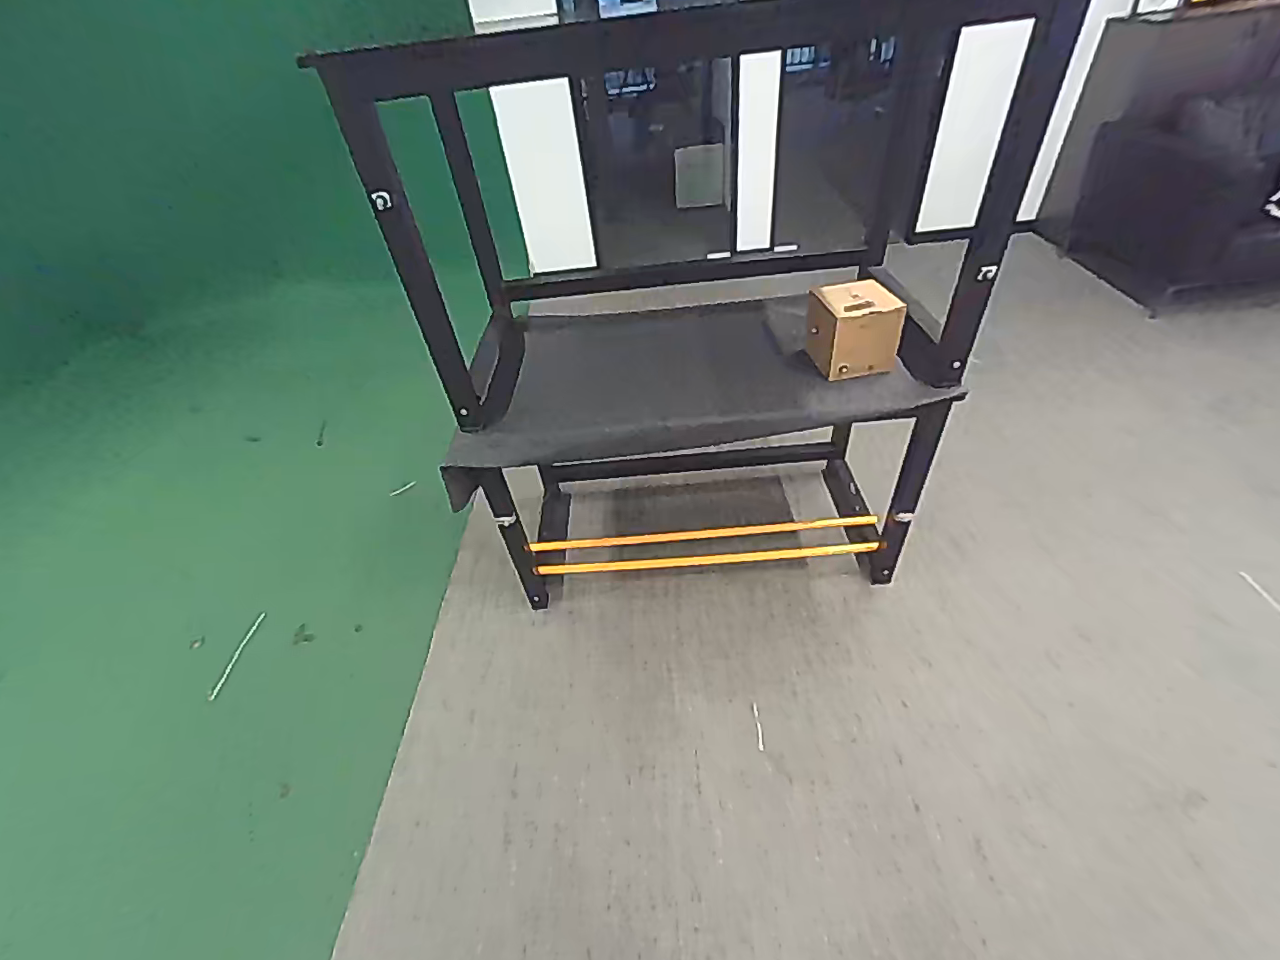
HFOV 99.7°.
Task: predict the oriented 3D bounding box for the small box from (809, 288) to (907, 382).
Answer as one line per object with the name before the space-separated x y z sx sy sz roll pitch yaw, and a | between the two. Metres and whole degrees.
small box | 0.535 -0.357 1.352 0.168 0.176 0.179 -9 40 -1
